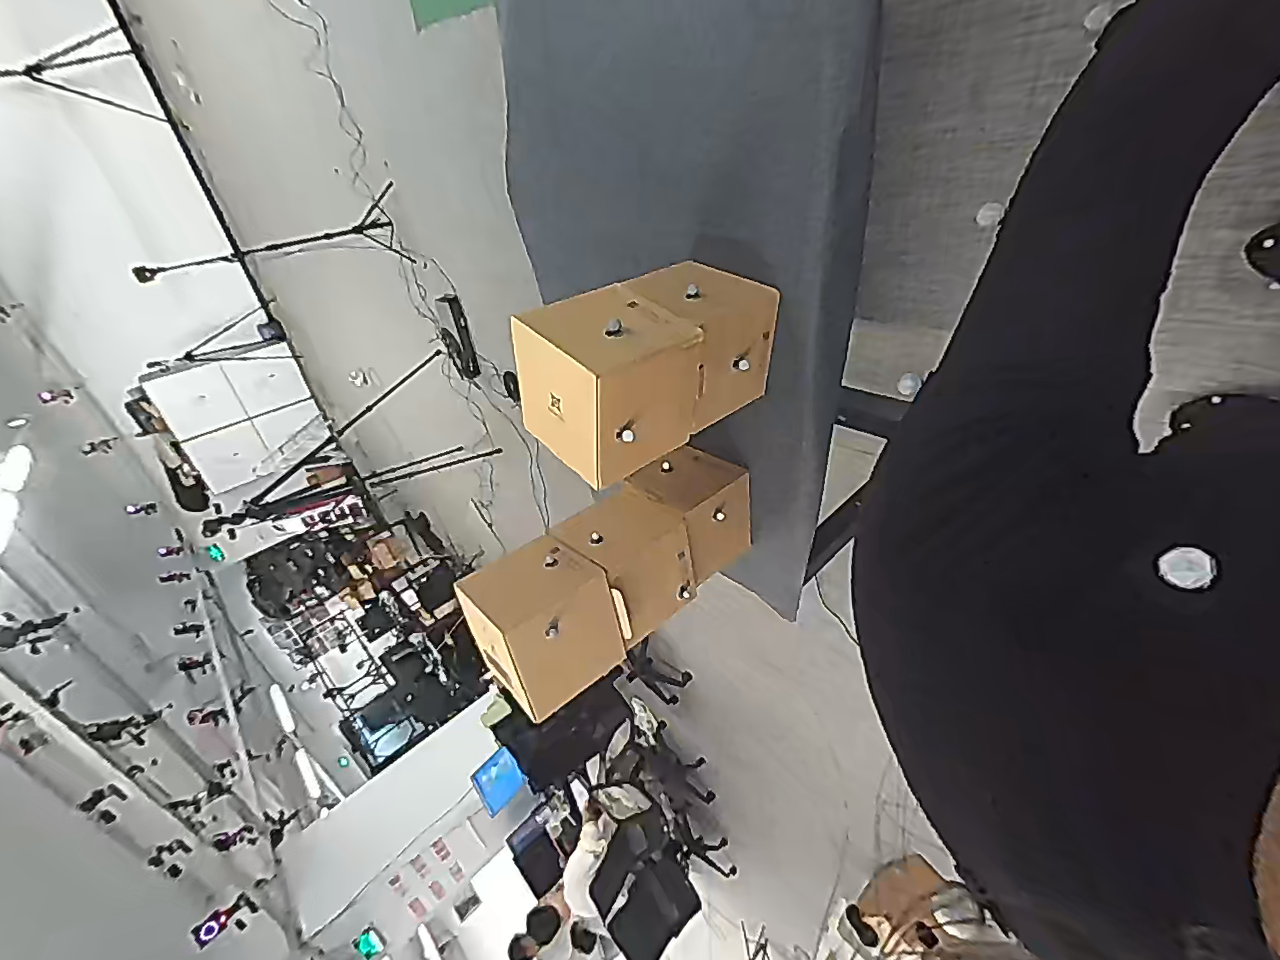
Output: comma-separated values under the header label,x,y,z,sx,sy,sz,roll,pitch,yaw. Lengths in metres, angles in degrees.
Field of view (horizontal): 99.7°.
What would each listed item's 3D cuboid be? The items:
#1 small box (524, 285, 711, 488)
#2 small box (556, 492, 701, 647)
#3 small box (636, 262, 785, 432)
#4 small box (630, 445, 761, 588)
label,x,y,z,sx,sy,sz,roll,pitch,yaw
small box,-0.027,-0.129,0.701,0.168,0.176,0.179,39,145,31
small box,-0.011,0.140,0.919,0.179,0.176,0.168,24,134,47
small box,0.088,-0.203,0.791,0.179,0.176,0.168,34,142,35
small box,0.108,0.058,0.997,0.168,0.176,0.179,27,138,44
